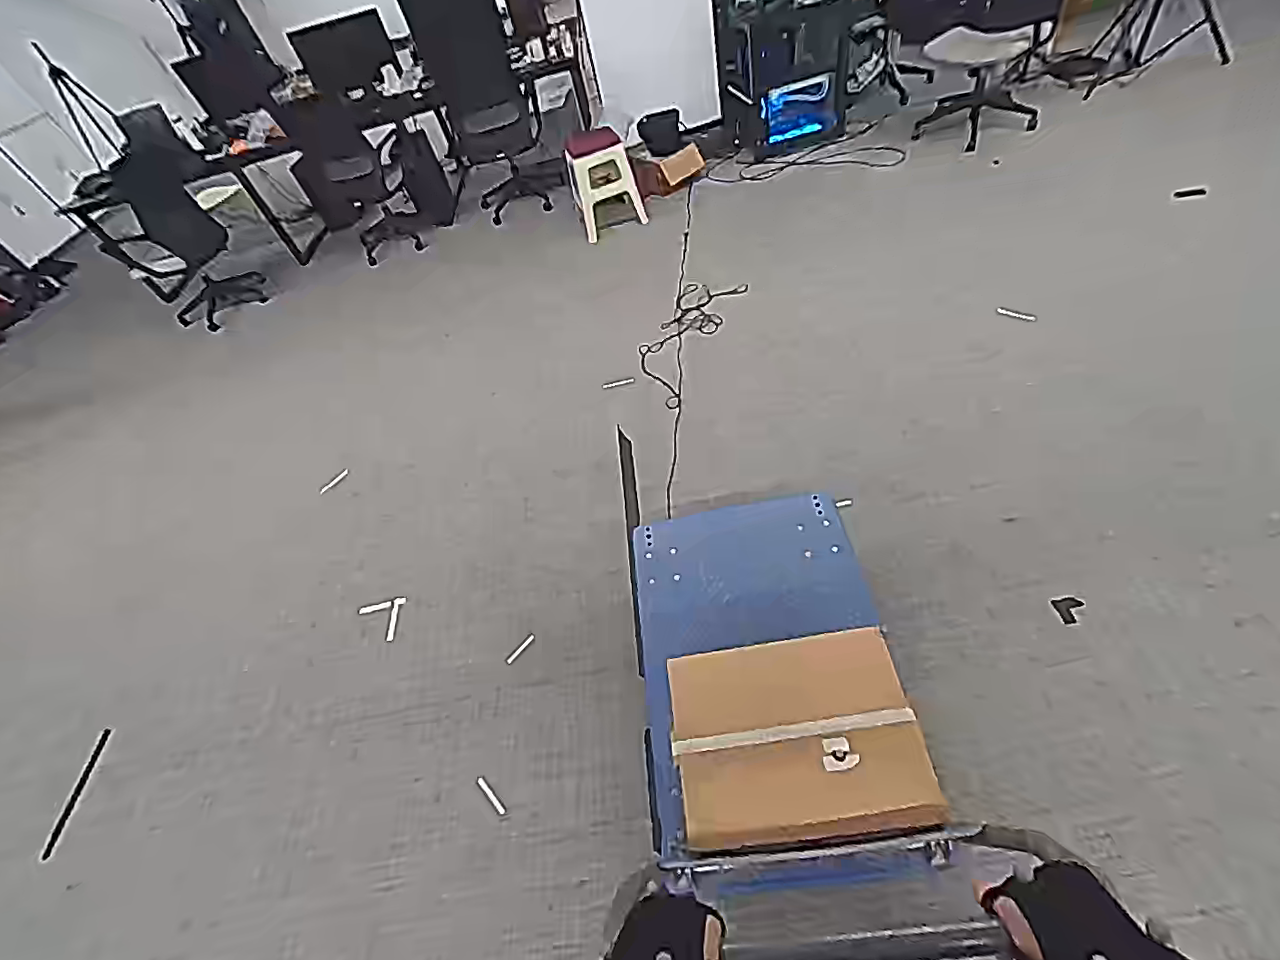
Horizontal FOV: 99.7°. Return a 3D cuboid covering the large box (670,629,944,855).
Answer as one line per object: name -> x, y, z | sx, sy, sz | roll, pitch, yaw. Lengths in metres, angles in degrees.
large box -> 0.294, 0.525, 1.063 | 0.408, 0.320, 0.320 | -11, 55, 6
